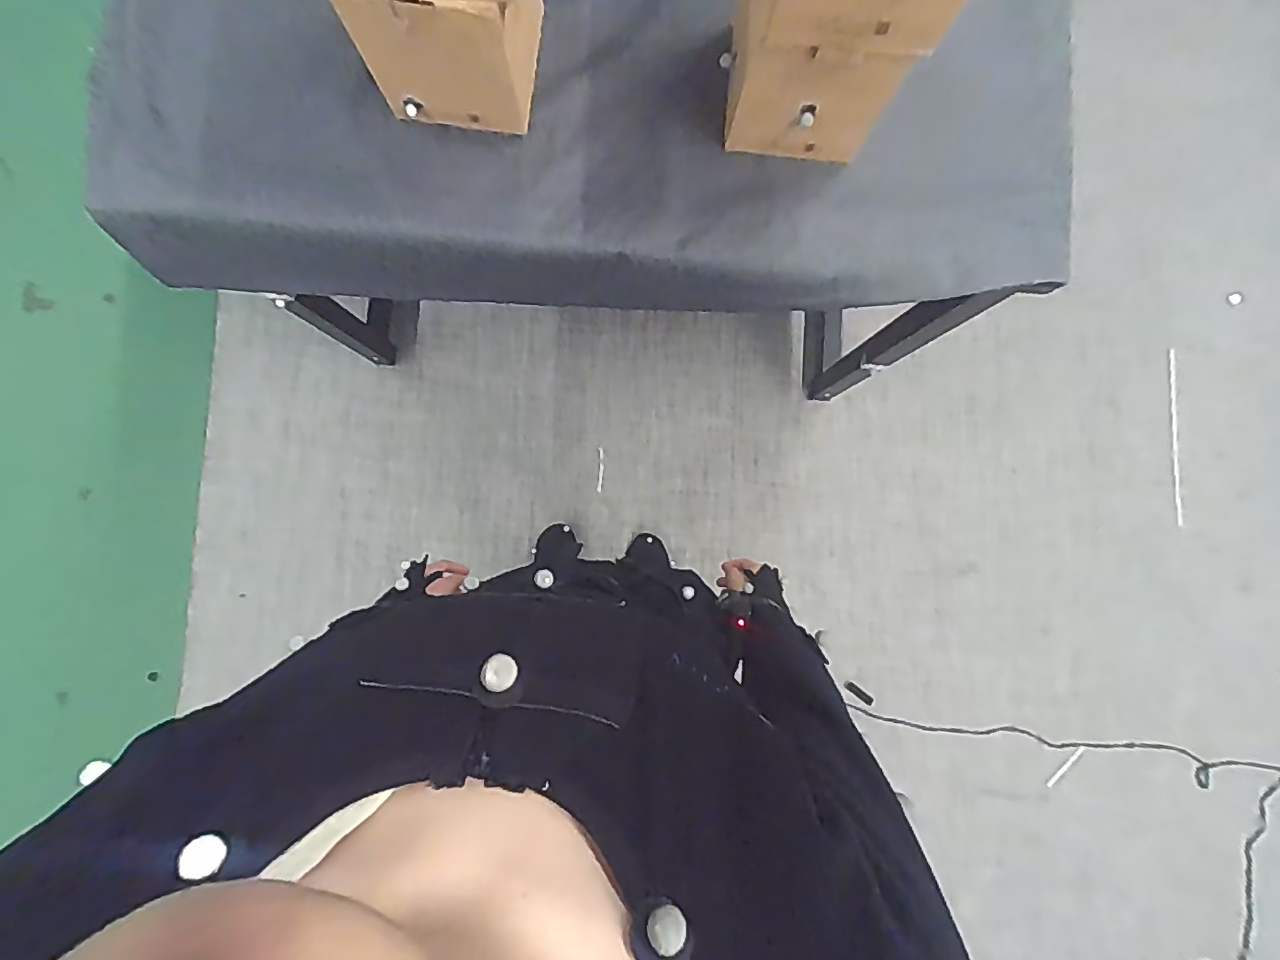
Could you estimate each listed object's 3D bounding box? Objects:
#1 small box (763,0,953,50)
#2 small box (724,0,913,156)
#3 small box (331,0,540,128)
[{"bbox_3d":[0.206,-0.511,0.452,0.168,0.176,0.179,4,85,-2],"label":"small box"},{"bbox_3d":[0.194,-0.505,0.615,0.168,0.176,0.179,5,86,-2],"label":"small box"},{"bbox_3d":[-0.212,-0.534,0.602,0.168,0.176,0.179,6,85,-2],"label":"small box"}]
